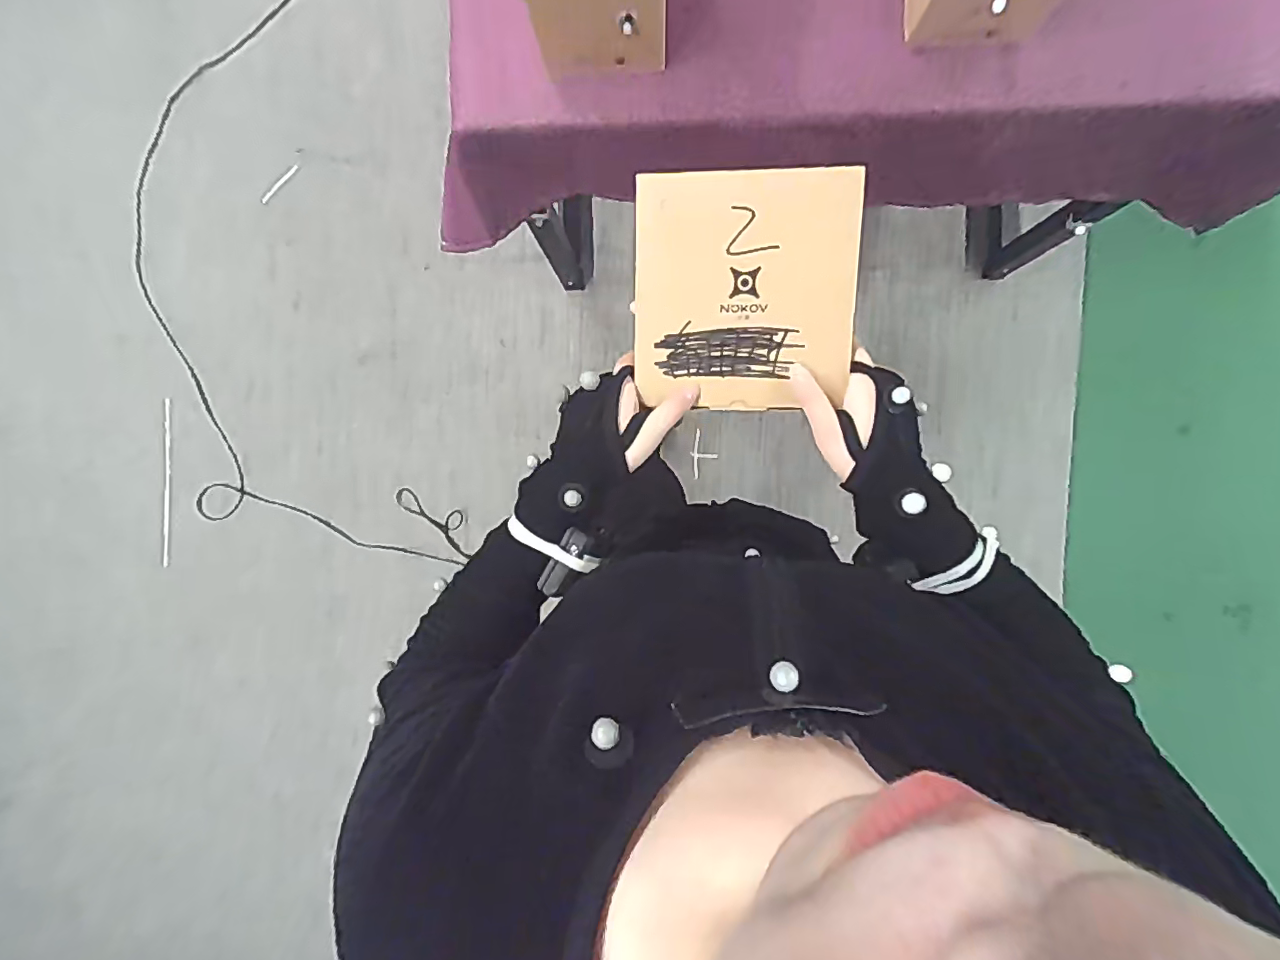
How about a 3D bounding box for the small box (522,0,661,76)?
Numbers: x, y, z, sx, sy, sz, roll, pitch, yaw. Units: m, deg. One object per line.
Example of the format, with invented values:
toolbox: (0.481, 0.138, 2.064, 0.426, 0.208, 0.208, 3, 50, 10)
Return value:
small box: (-0.057, -0.647, 0.681, 0.168, 0.176, 0.179, -2, 90, 1)
